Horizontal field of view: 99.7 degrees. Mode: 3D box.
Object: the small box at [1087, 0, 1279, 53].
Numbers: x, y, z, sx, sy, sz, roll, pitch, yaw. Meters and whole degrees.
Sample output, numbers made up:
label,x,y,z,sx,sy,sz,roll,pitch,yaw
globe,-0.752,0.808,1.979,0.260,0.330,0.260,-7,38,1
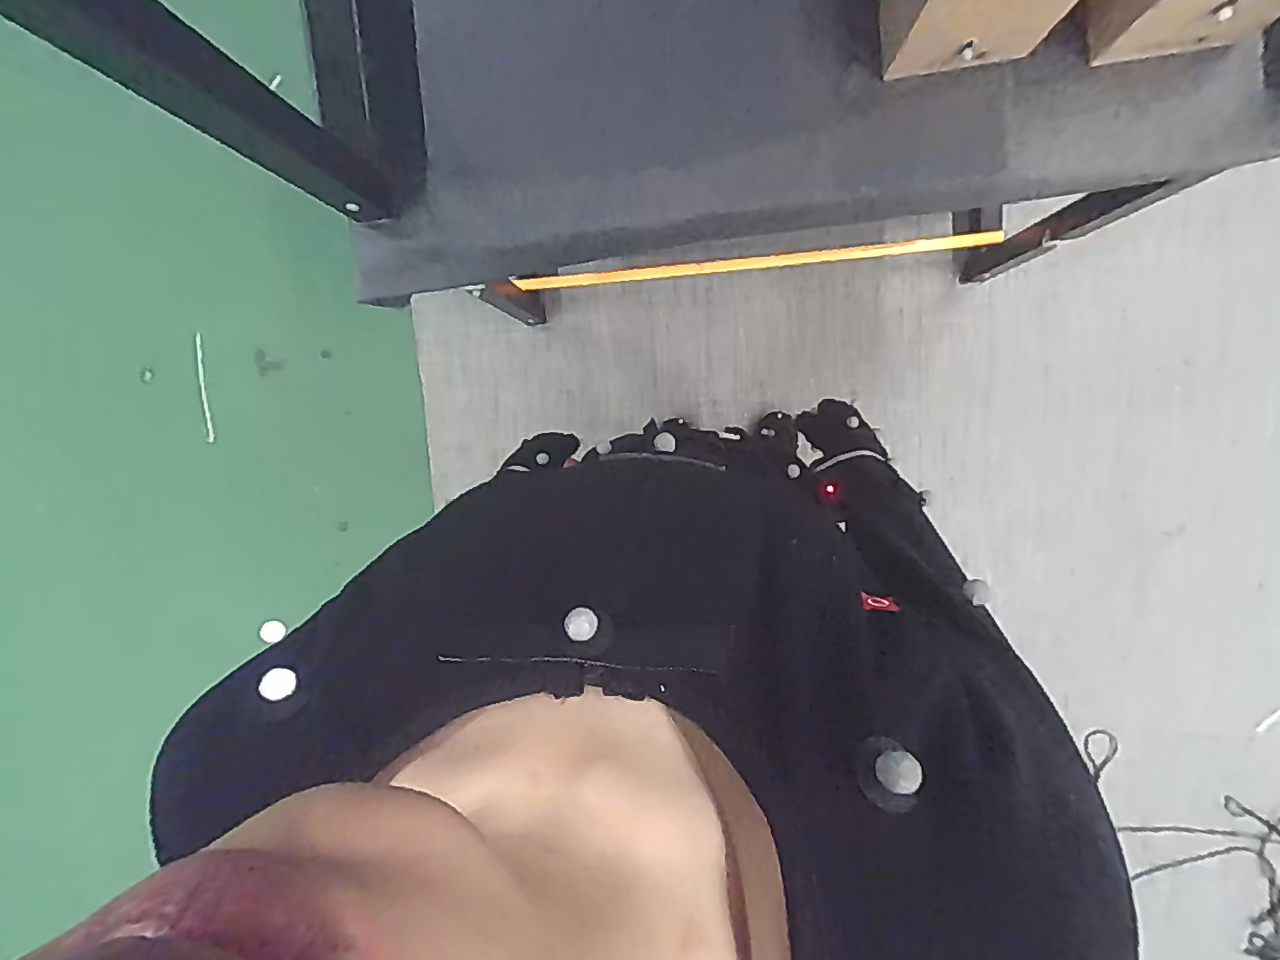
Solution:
label,x,y,z,sx,sy,sz,roll,pitch,yaw
small box,0.591,-0.570,0.540,0.168,0.176,0.179,-5,95,6
